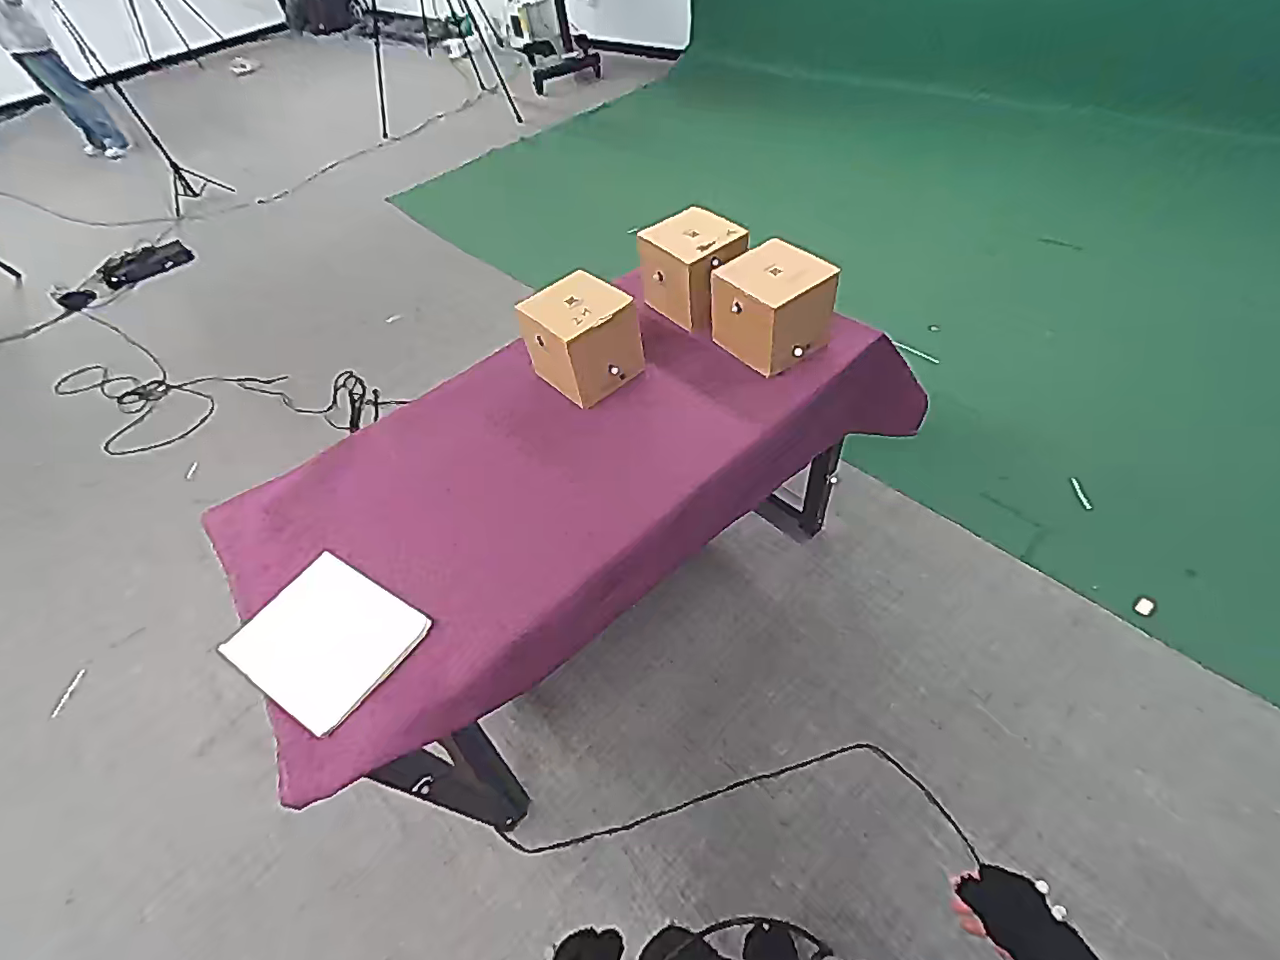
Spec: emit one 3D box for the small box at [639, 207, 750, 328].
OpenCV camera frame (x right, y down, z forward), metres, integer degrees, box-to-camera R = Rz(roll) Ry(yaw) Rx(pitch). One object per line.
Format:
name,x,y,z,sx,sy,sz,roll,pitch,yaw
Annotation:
small box,0.119,-0.461,1.179,0.168,0.176,0.179,-33,54,-17

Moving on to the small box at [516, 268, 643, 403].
small box,-0.113,-0.282,1.070,0.168,0.176,0.179,-37,57,-20
